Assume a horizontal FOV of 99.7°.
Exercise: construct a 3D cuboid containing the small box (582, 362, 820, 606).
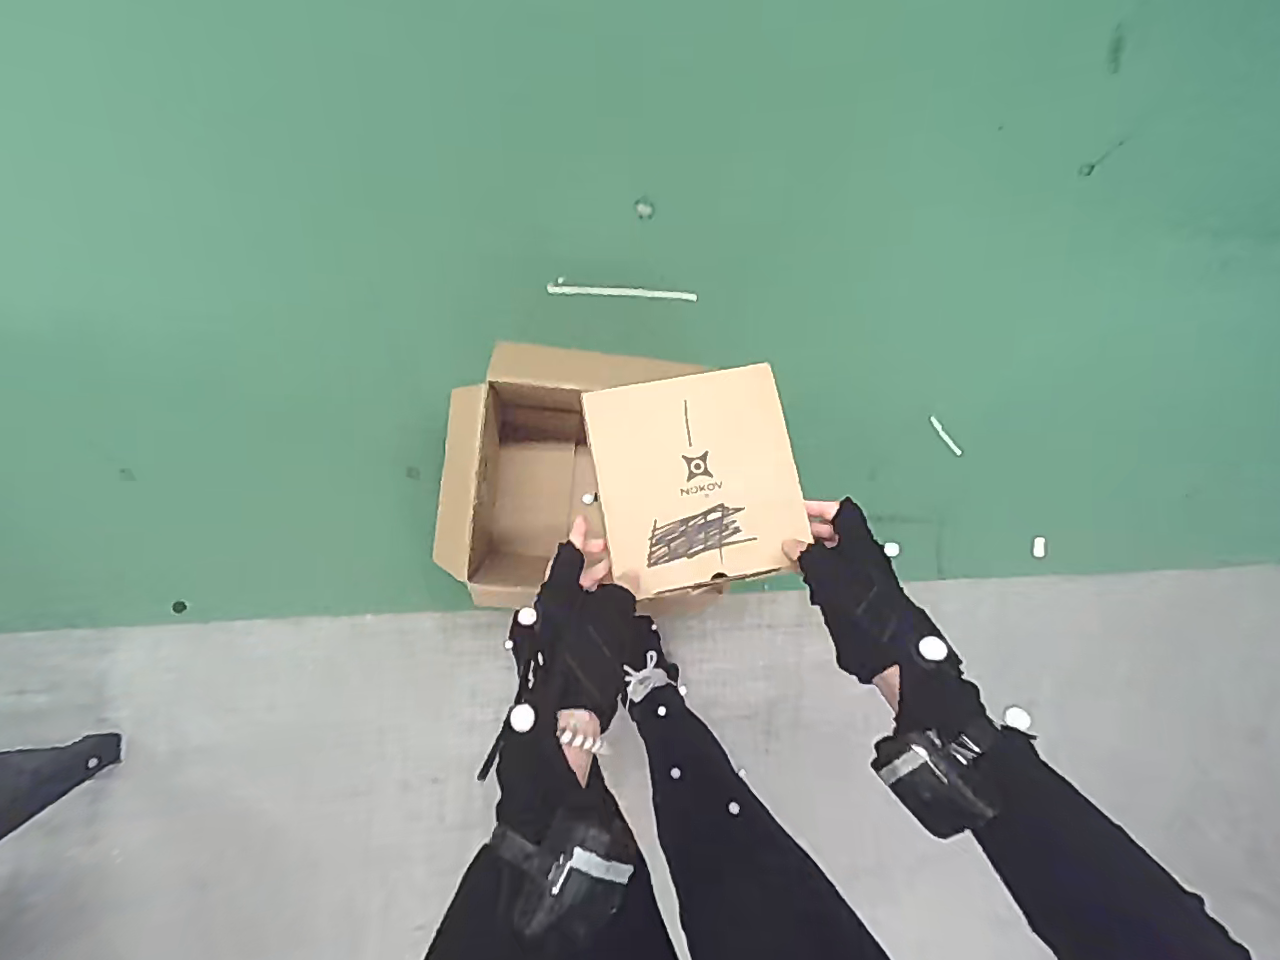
[{"bbox_3d":[0.044,0.013,0.509,0.168,0.176,0.179,-10,80,-5],"label":"small box"}]
